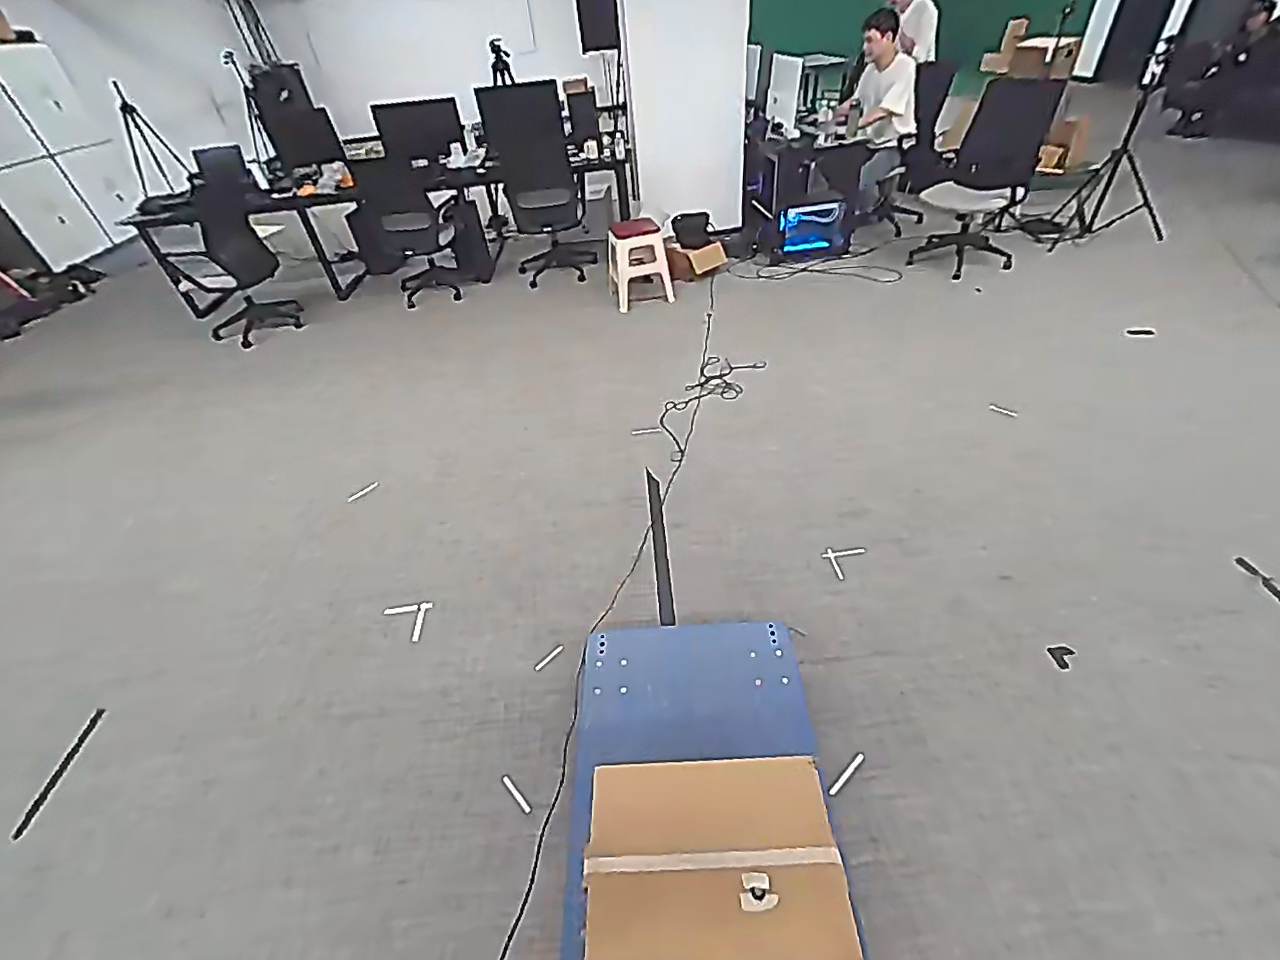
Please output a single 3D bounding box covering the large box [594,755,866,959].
[{"bbox_3d":[0.137,0.737,0.984,0.408,0.320,0.320,-5,41,2],"label":"large box"}]
